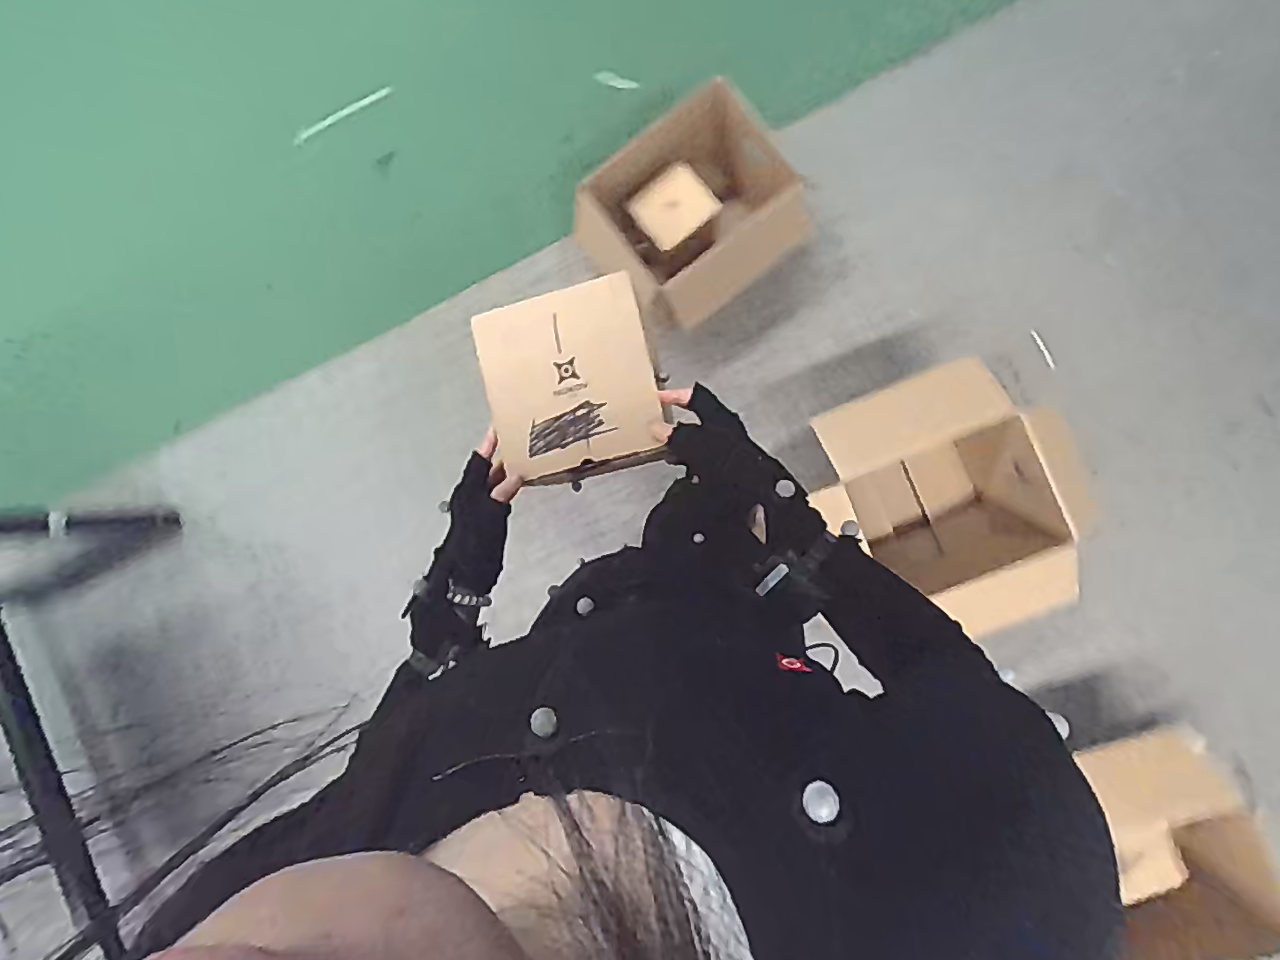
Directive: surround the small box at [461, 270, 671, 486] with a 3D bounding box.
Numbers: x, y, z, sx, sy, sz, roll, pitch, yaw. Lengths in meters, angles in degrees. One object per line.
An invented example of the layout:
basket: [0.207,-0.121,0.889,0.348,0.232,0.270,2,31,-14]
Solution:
small box: [-0.067,-0.097,0.597,0.168,0.176,0.179,-14,88,7]
